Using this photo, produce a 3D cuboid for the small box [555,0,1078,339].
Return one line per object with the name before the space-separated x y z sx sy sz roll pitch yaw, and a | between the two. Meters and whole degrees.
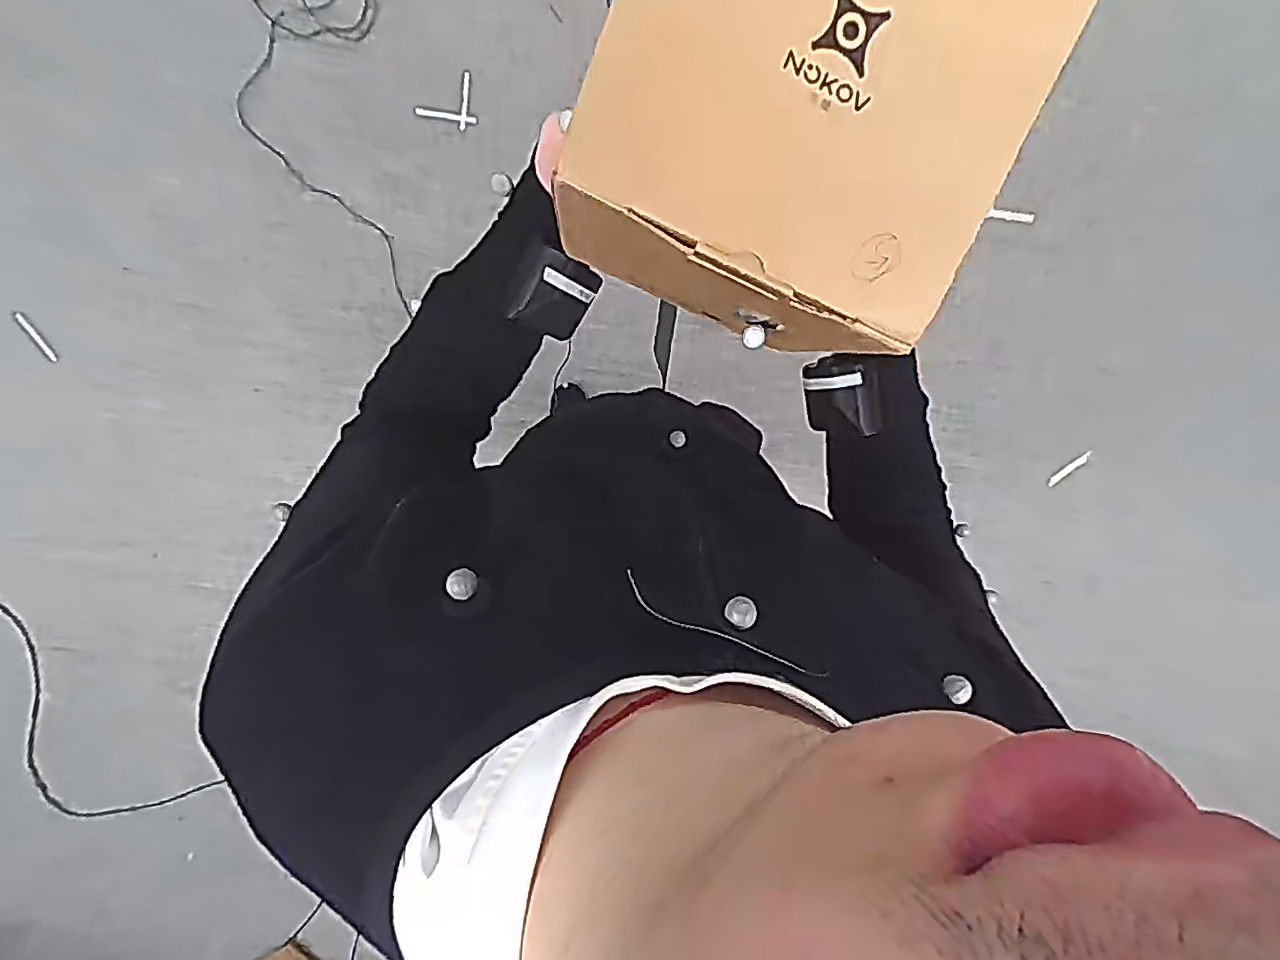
small box | 0.066 -0.186 0.285 0.168 0.176 0.179 21 100 -12
